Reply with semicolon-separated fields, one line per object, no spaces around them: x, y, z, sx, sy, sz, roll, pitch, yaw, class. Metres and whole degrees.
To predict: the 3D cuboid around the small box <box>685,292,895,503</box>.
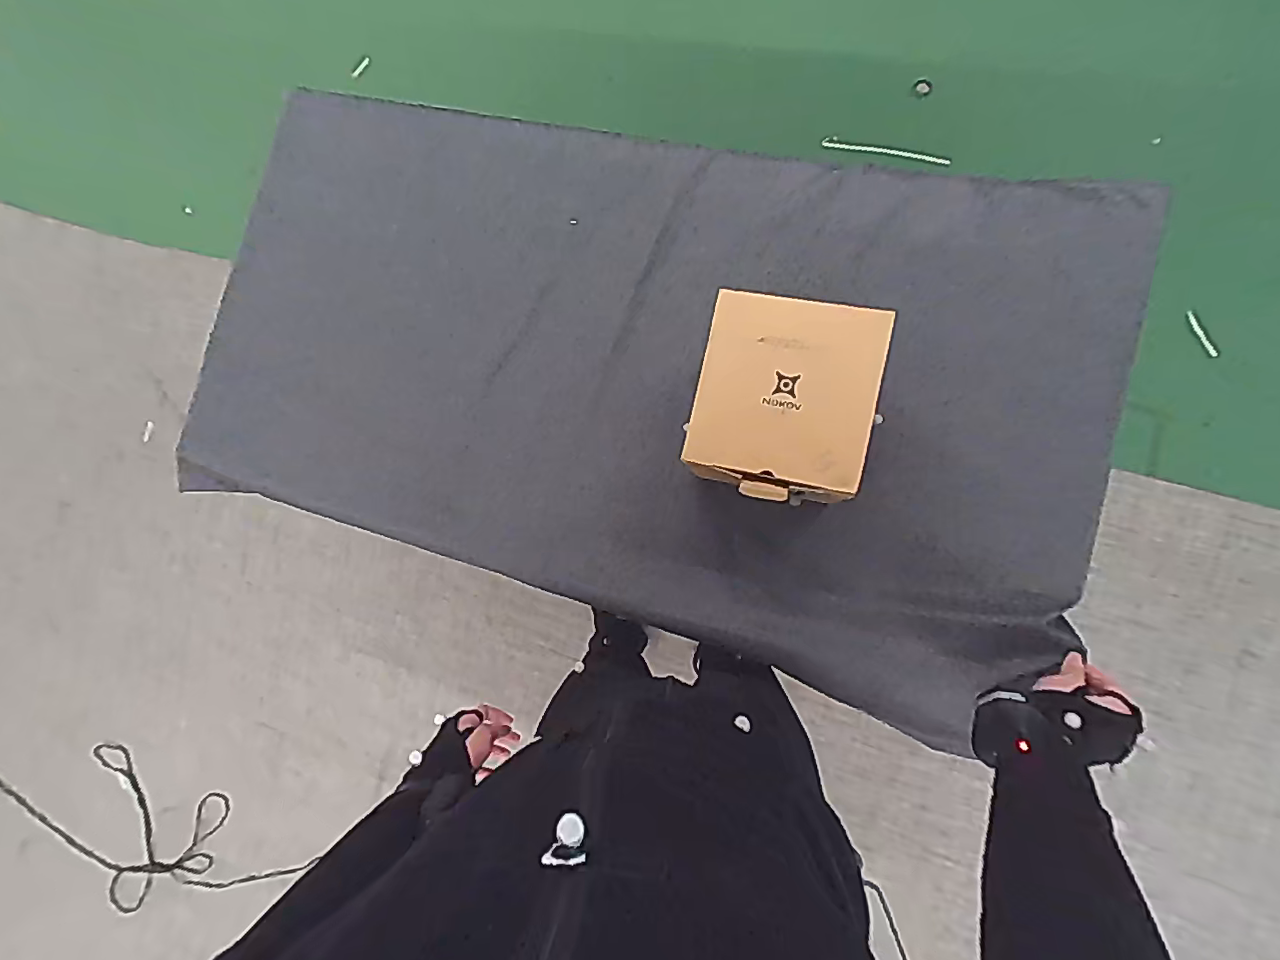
0.155;-0.076;0.589;0.168;0.176;0.179;12;86;11;small box
